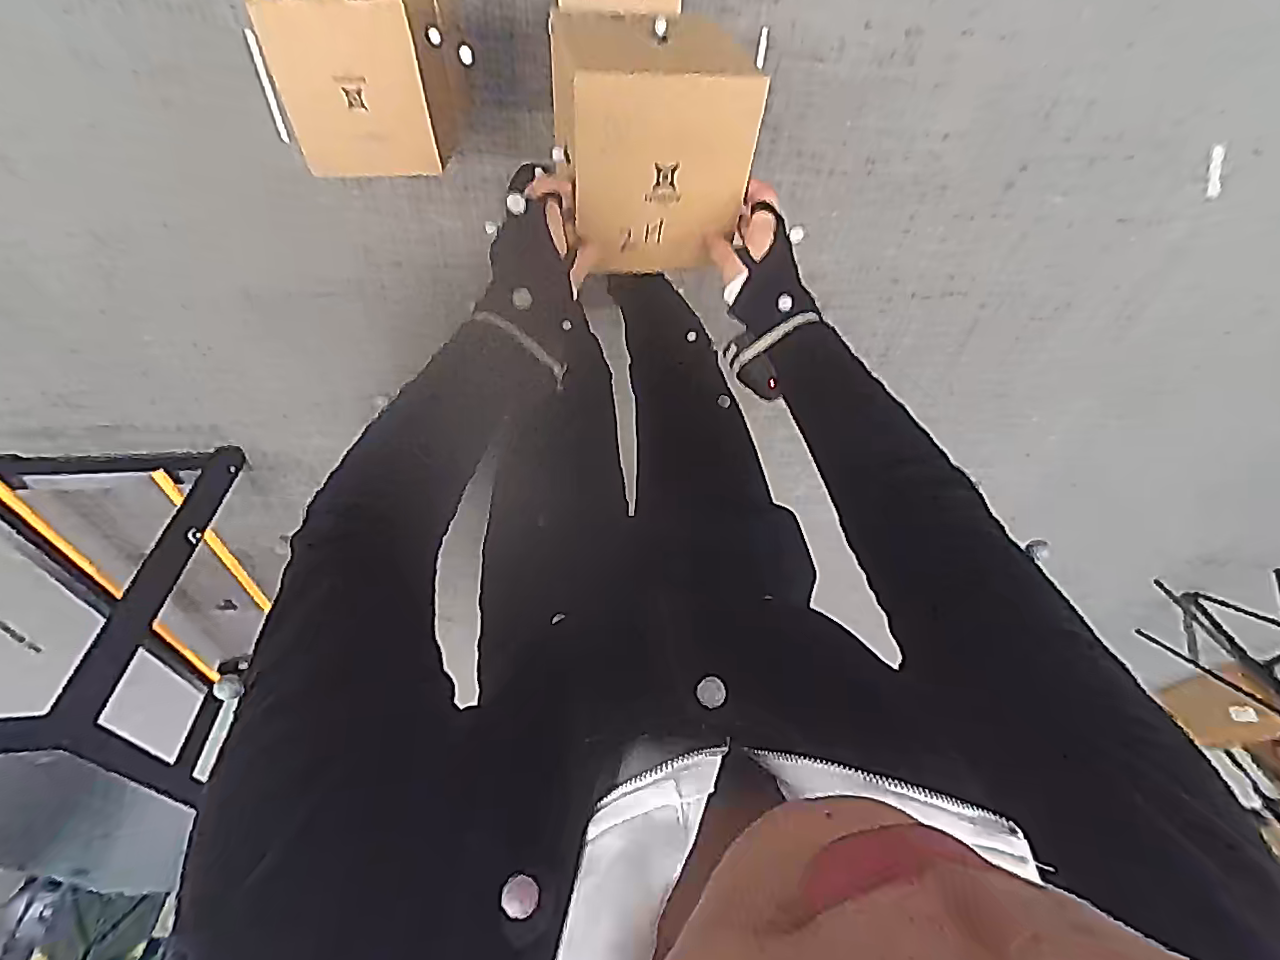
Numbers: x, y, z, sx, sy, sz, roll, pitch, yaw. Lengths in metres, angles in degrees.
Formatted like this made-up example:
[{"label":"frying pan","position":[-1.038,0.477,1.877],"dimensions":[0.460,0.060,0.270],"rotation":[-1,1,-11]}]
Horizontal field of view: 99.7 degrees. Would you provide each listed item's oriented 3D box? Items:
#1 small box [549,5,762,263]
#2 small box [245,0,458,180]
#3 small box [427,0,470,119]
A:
[{"label":"small box","position":[0.000,-0.348,0.550],"dimensions":[0.168,0.176,0.179],"rotation":[-6,145,-11]},{"label":"small box","position":[-0.341,-0.504,0.683],"dimensions":[0.168,0.176,0.179],"rotation":[-3,138,-3]},{"label":"small box","position":[-0.361,-0.623,0.791],"dimensions":[0.179,0.176,0.168],"rotation":[-3,137,-6]}]
